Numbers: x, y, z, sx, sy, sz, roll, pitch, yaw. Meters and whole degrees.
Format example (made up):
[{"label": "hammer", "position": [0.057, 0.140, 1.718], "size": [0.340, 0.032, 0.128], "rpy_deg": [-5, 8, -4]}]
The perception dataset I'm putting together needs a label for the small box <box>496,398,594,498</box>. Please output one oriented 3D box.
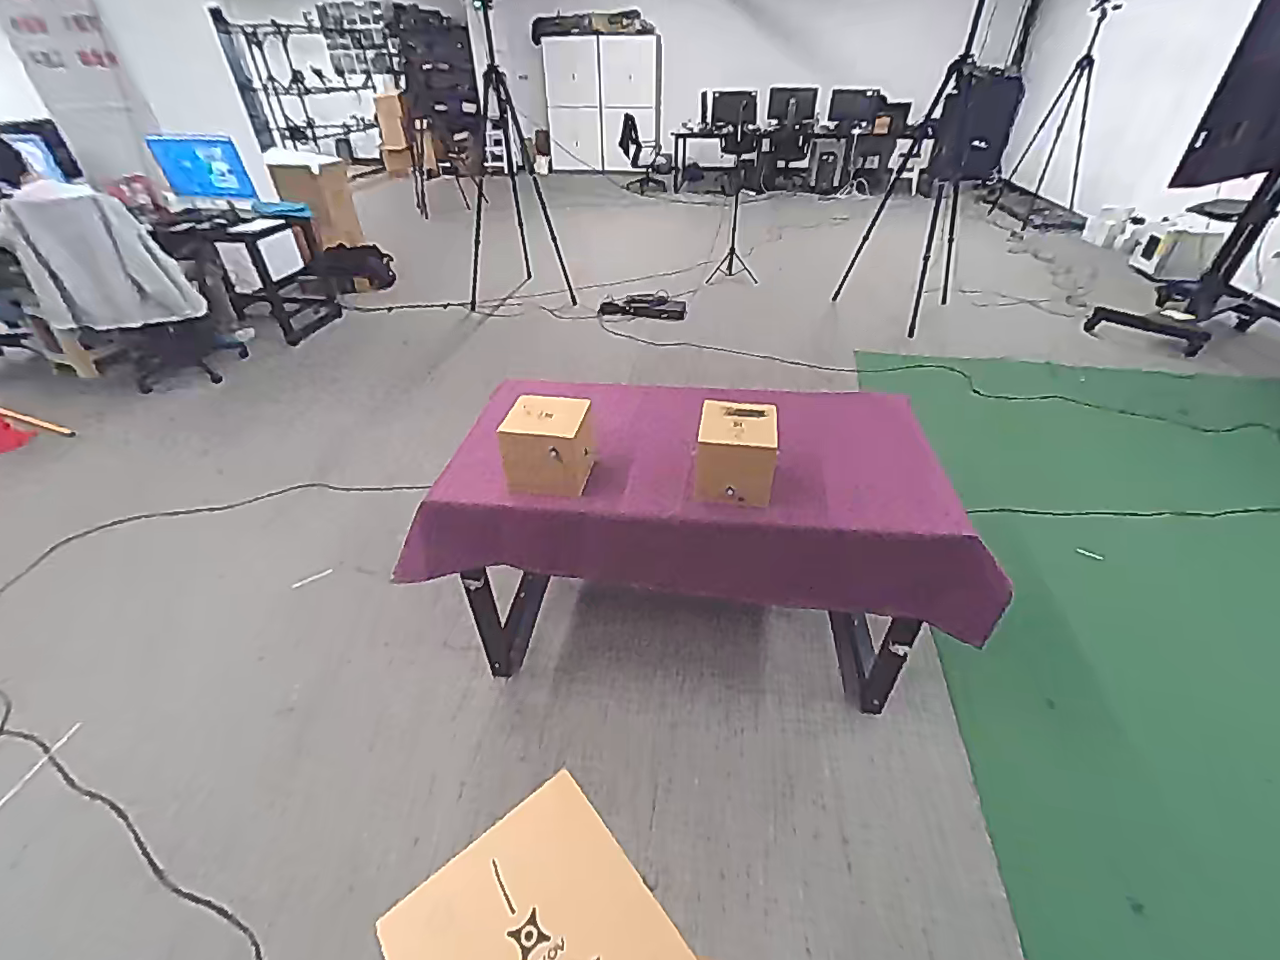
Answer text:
[{"label": "small box", "position": [-0.211, -0.073, 1.263], "size": [0.179, 0.176, 0.168], "rpy_deg": [5, 37, 8]}]
